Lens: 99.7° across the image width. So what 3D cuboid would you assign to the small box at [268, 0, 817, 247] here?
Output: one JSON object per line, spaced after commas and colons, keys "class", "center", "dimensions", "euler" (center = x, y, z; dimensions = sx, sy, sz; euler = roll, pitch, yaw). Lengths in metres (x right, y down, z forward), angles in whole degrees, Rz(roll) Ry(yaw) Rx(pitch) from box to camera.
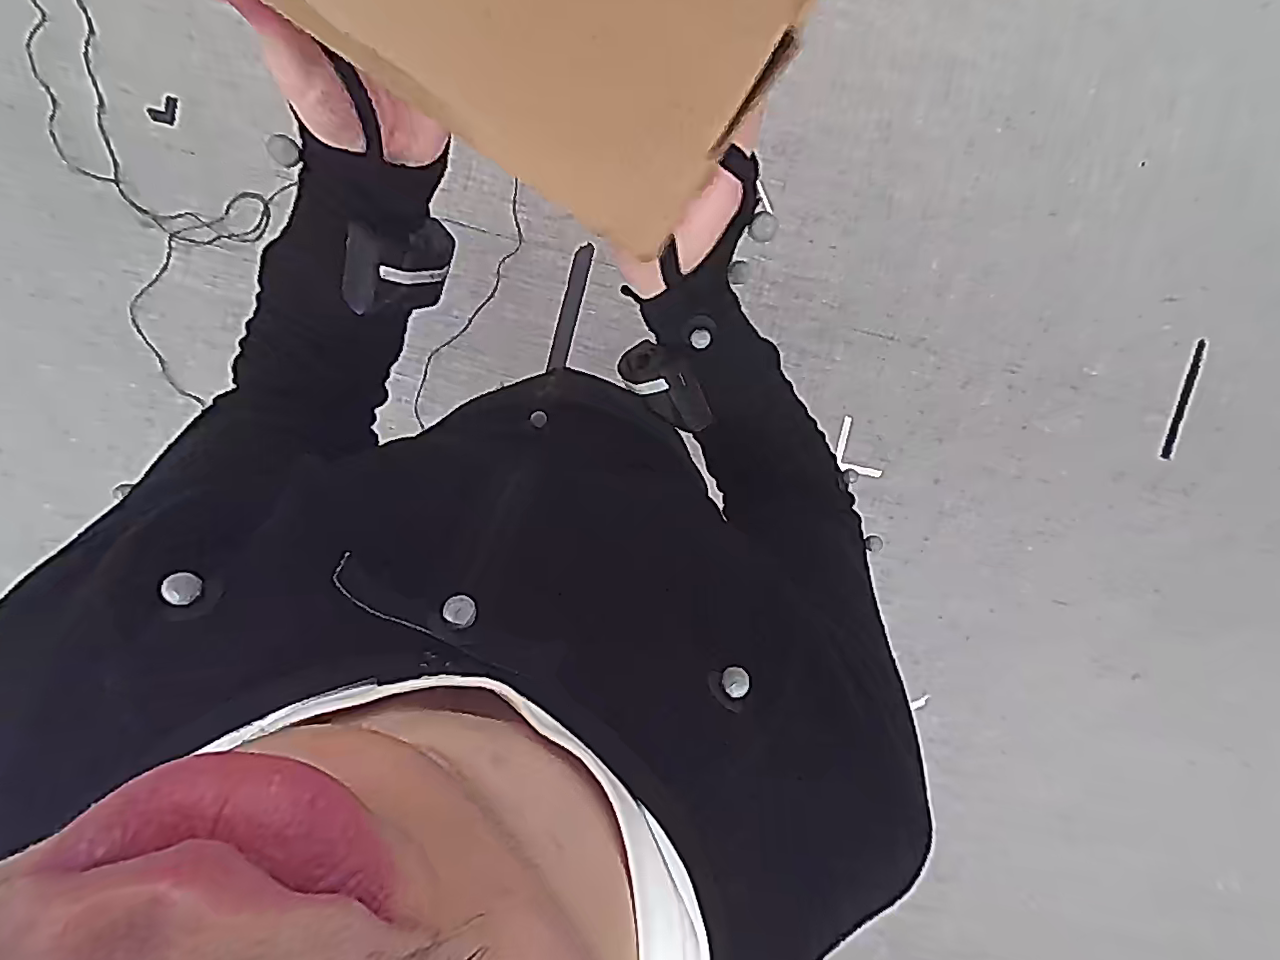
{"class": "small box", "center": [-0.023, -0.206, 0.163], "dimensions": [0.179, 0.176, 0.168], "euler": [27, 121, -15]}
